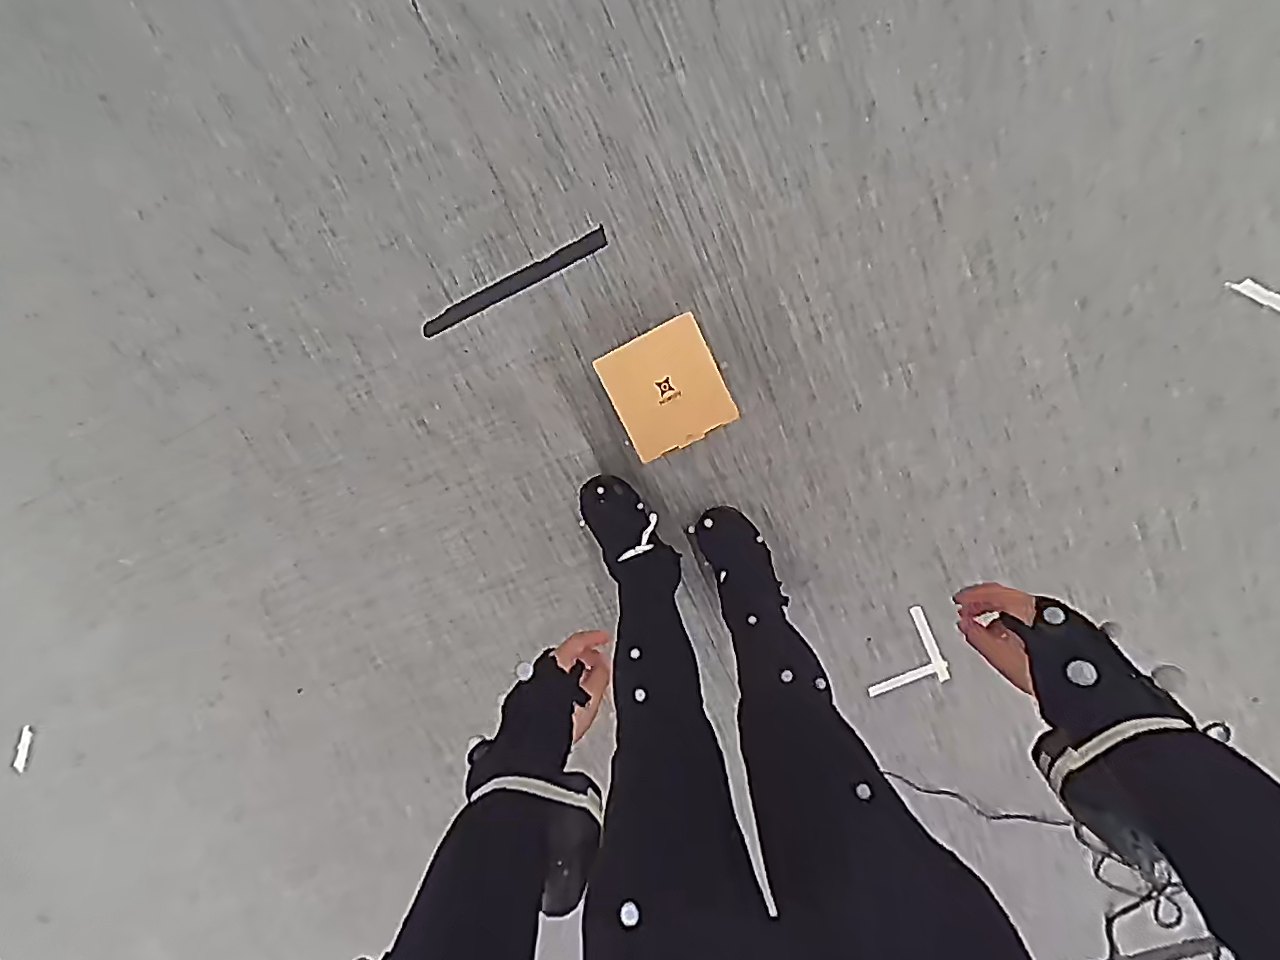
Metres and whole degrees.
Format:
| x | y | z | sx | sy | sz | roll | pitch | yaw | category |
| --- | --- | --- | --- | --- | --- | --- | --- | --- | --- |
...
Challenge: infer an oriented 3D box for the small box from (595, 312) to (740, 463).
| x | y | z | sx | sy | sz | roll | pitch | yaw | category |
| --- | --- | --- | --- | --- | --- | --- | --- | --- | --- |
| 0.043 | -0.151 | 0.880 | 0.168 | 0.176 | 0.179 | -26 | 102 | 8 | small box |
